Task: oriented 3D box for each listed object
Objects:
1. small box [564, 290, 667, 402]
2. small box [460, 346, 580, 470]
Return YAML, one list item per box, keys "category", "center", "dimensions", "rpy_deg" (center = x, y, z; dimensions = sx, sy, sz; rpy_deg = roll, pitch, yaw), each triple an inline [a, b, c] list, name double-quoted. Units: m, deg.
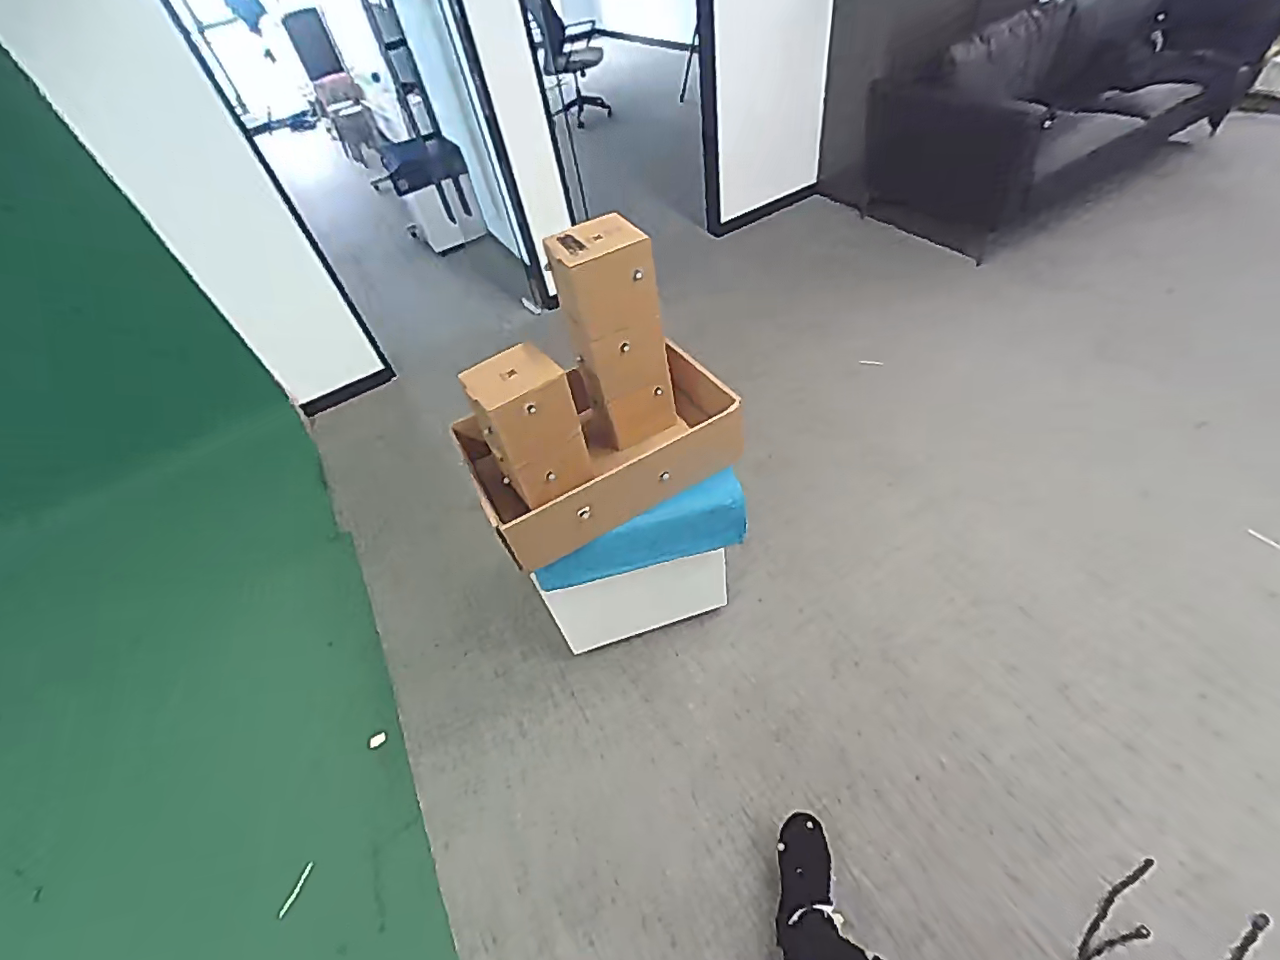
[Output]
- category: "small box"
  center: [-0.052, -0.309, 1.262]
  dimensions: [0.179, 0.176, 0.168]
  rpy_deg: [-25, 49, -11]
- category: "small box"
  center: [-0.250, -0.152, 1.158]
  dimensions: [0.179, 0.176, 0.168]
  rpy_deg: [-31, 49, -18]
